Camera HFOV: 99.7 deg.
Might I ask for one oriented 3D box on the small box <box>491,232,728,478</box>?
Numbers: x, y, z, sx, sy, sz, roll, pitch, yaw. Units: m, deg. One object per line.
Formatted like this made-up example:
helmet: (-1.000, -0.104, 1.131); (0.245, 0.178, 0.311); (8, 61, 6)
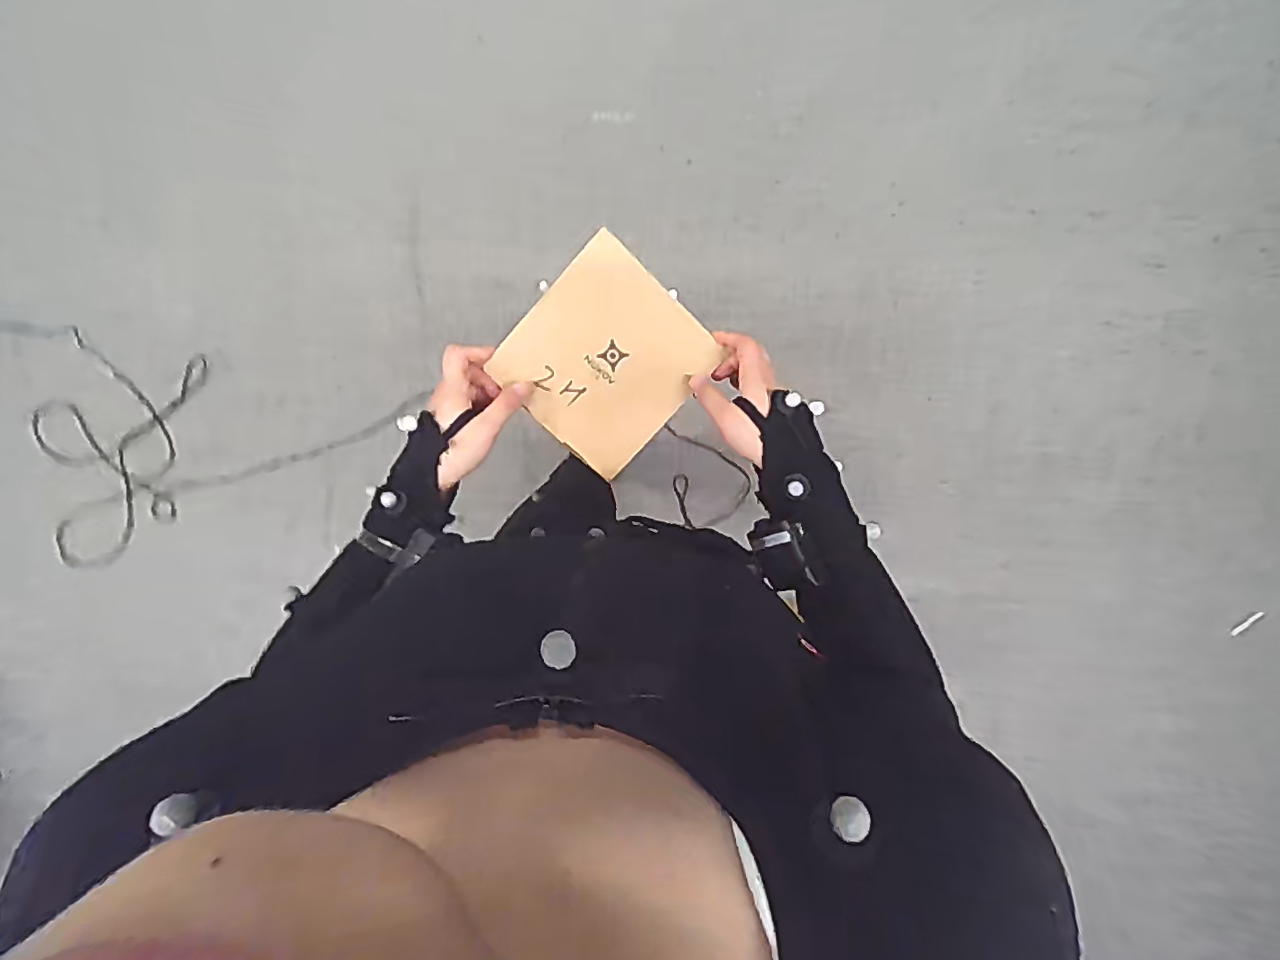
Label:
small box: (-0.034, -0.134, 0.597); (0.168, 0.176, 0.179); (41, 99, -11)

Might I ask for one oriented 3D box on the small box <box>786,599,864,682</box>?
small box: (0.481, 0.410, 1.397); (0.179, 0.176, 0.168); (-1, 93, 2)
